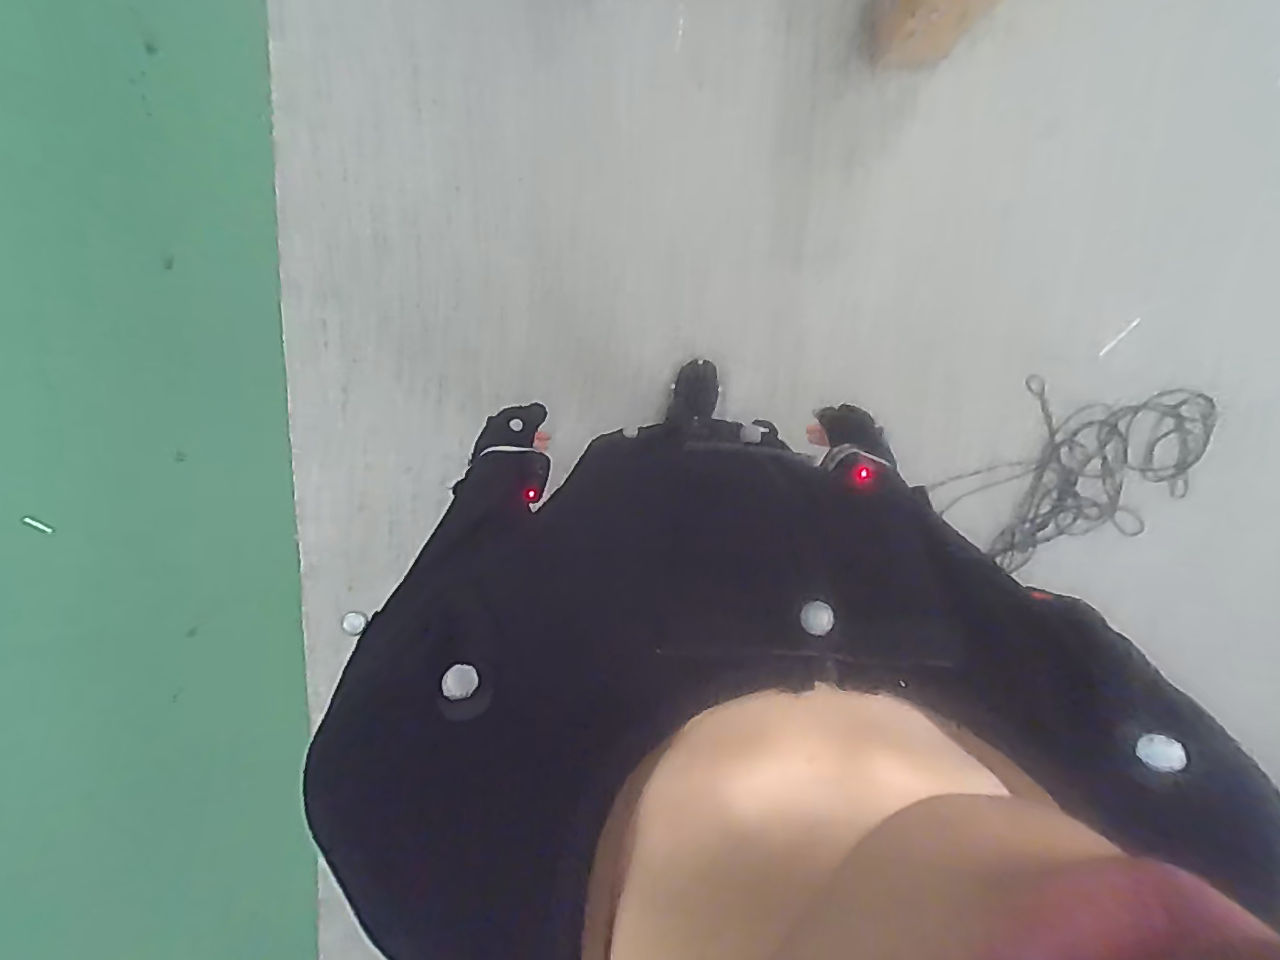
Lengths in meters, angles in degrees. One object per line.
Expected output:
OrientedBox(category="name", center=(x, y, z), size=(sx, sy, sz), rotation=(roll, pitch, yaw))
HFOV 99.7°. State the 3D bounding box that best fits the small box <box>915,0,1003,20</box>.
OrientedBox(category="small box", center=(0.673, -1.068, 1.081), size=(0.168, 0.176, 0.179), rotation=(-2, 97, -1))
